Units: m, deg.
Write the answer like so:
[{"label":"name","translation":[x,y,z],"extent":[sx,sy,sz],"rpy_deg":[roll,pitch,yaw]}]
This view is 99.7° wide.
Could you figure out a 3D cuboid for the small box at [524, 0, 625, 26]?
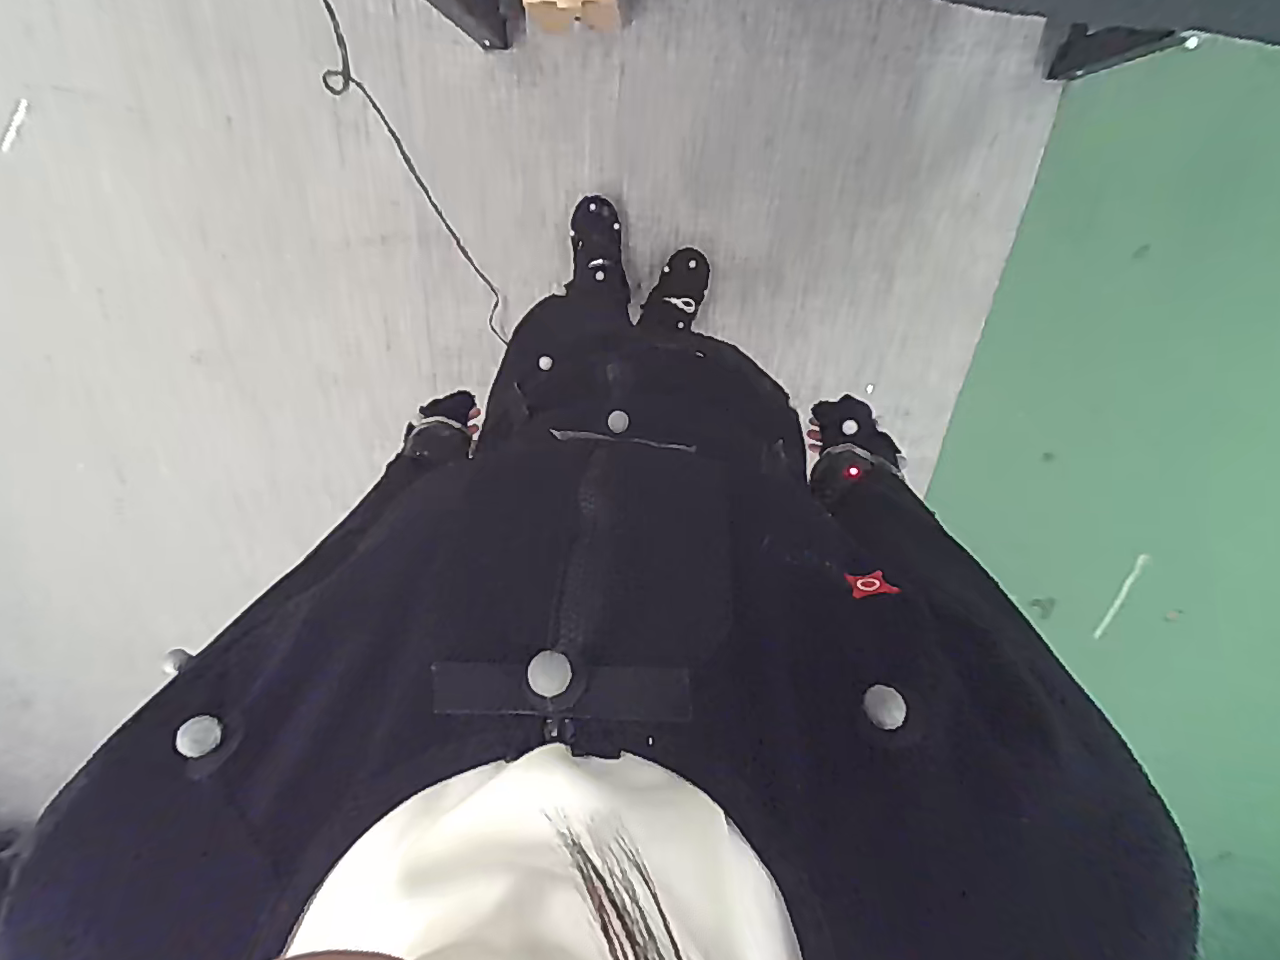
[{"label":"small box","translation":[-0.114,-0.937,0.961],"extent":[0.168,0.176,0.179],"rpy_deg":[1,117,2]}]
